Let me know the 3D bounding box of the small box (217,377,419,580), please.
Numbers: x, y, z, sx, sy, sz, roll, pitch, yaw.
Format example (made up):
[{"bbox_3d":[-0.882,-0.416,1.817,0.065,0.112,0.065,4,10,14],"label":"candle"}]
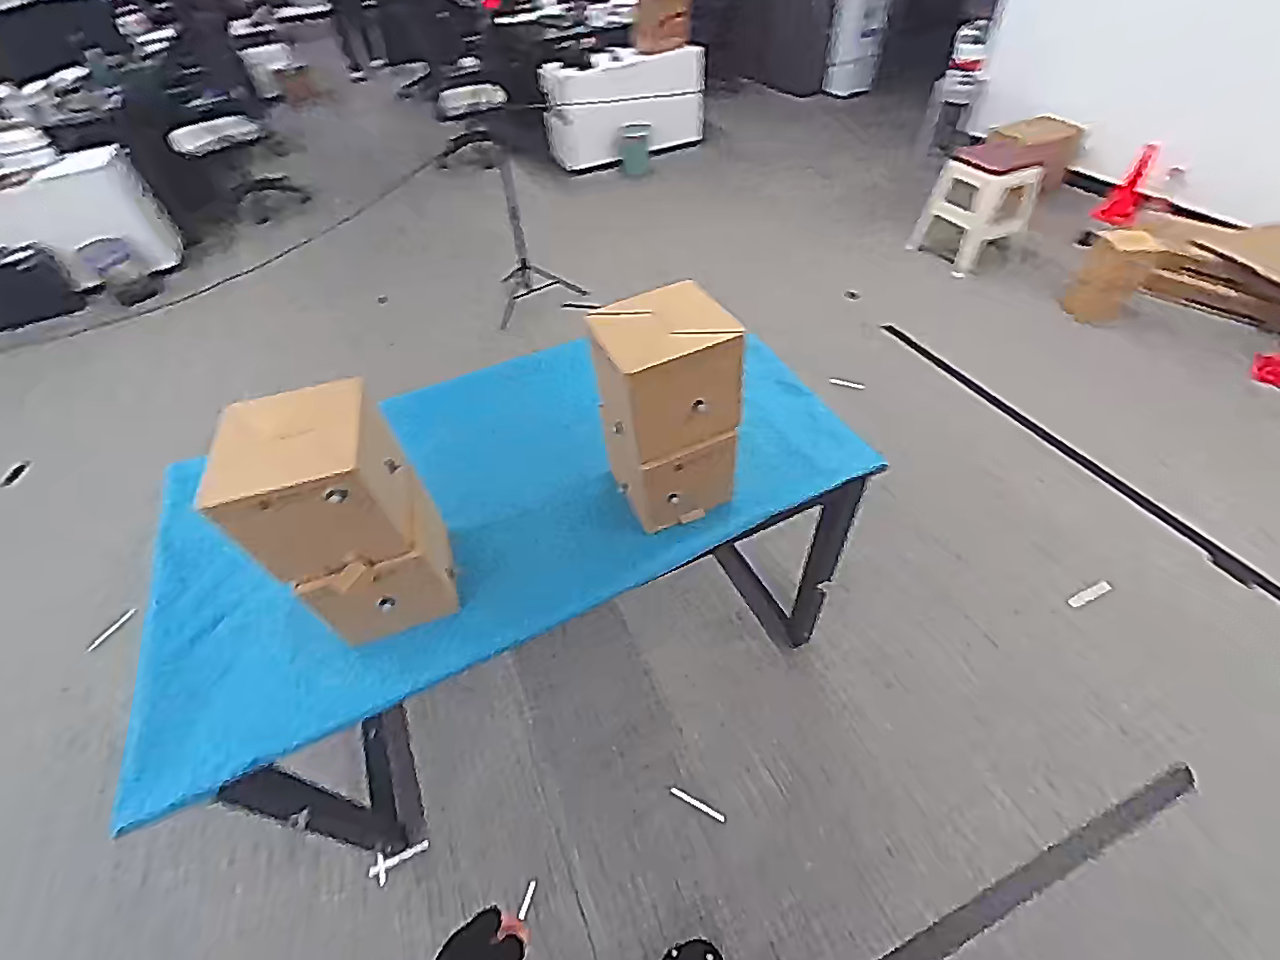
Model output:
[{"bbox_3d":[-0.403,-0.004,0.702,0.168,0.176,0.179,-15,51,-8],"label":"small box"}]

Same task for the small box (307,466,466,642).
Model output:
[{"bbox_3d":[-0.381,0.109,0.820,0.168,0.176,0.179,-17,50,-11],"label":"small box"}]

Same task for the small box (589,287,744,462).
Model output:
[{"bbox_3d":[0.042,-0.163,0.804,0.179,0.176,0.168,-22,49,-11],"label":"small box"}]

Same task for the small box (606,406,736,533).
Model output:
[{"bbox_3d":[0.051,-0.048,0.921,0.168,0.176,0.179,-22,50,-14],"label":"small box"}]
